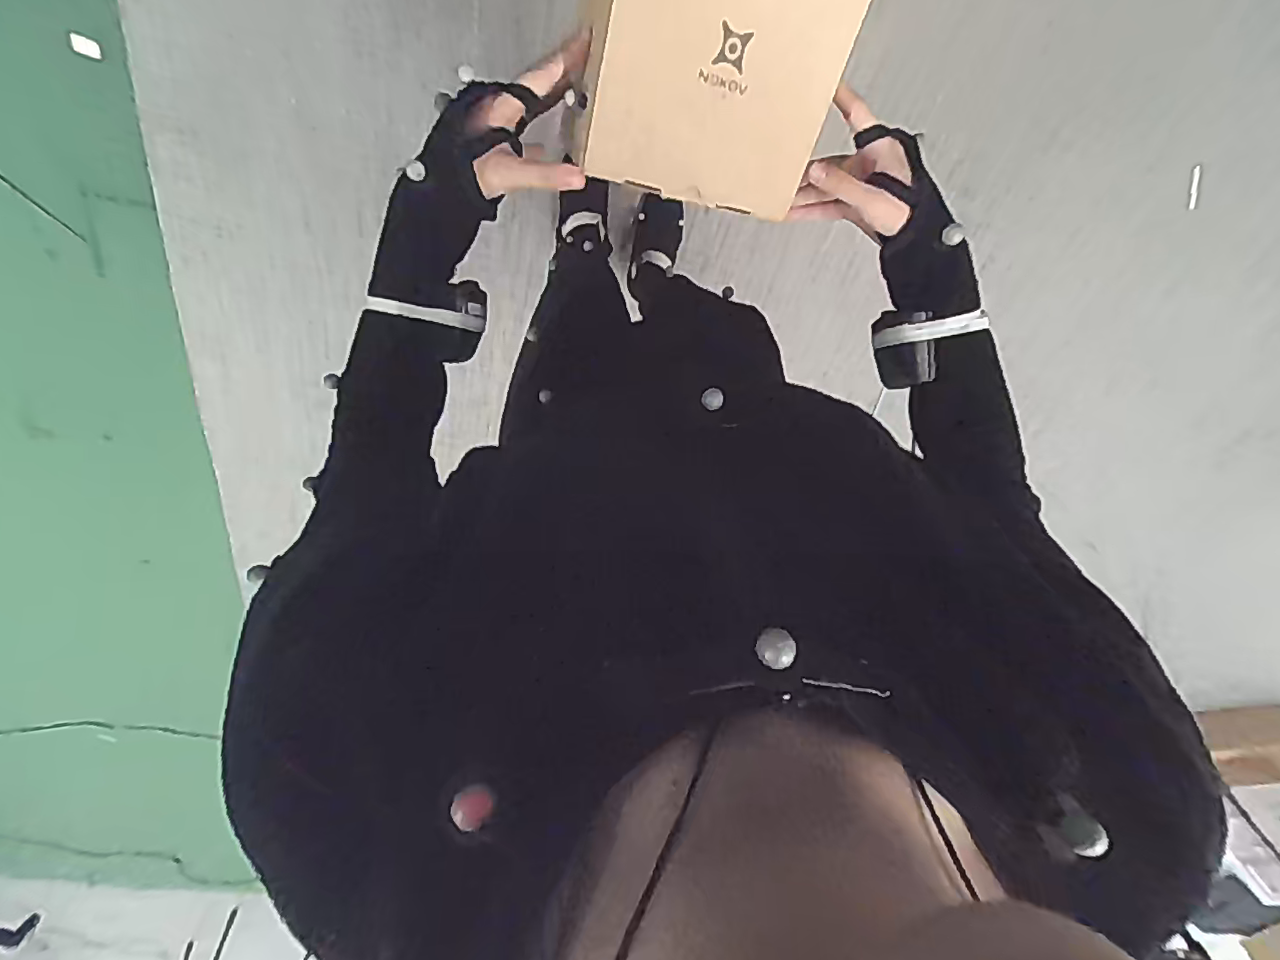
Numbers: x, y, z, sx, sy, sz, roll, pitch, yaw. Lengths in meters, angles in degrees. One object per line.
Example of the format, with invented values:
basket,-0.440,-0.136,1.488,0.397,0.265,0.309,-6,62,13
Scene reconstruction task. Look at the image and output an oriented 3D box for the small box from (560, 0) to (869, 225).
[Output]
small box,0.038,-0.323,0.407,0.168,0.176,0.179,4,129,-19
